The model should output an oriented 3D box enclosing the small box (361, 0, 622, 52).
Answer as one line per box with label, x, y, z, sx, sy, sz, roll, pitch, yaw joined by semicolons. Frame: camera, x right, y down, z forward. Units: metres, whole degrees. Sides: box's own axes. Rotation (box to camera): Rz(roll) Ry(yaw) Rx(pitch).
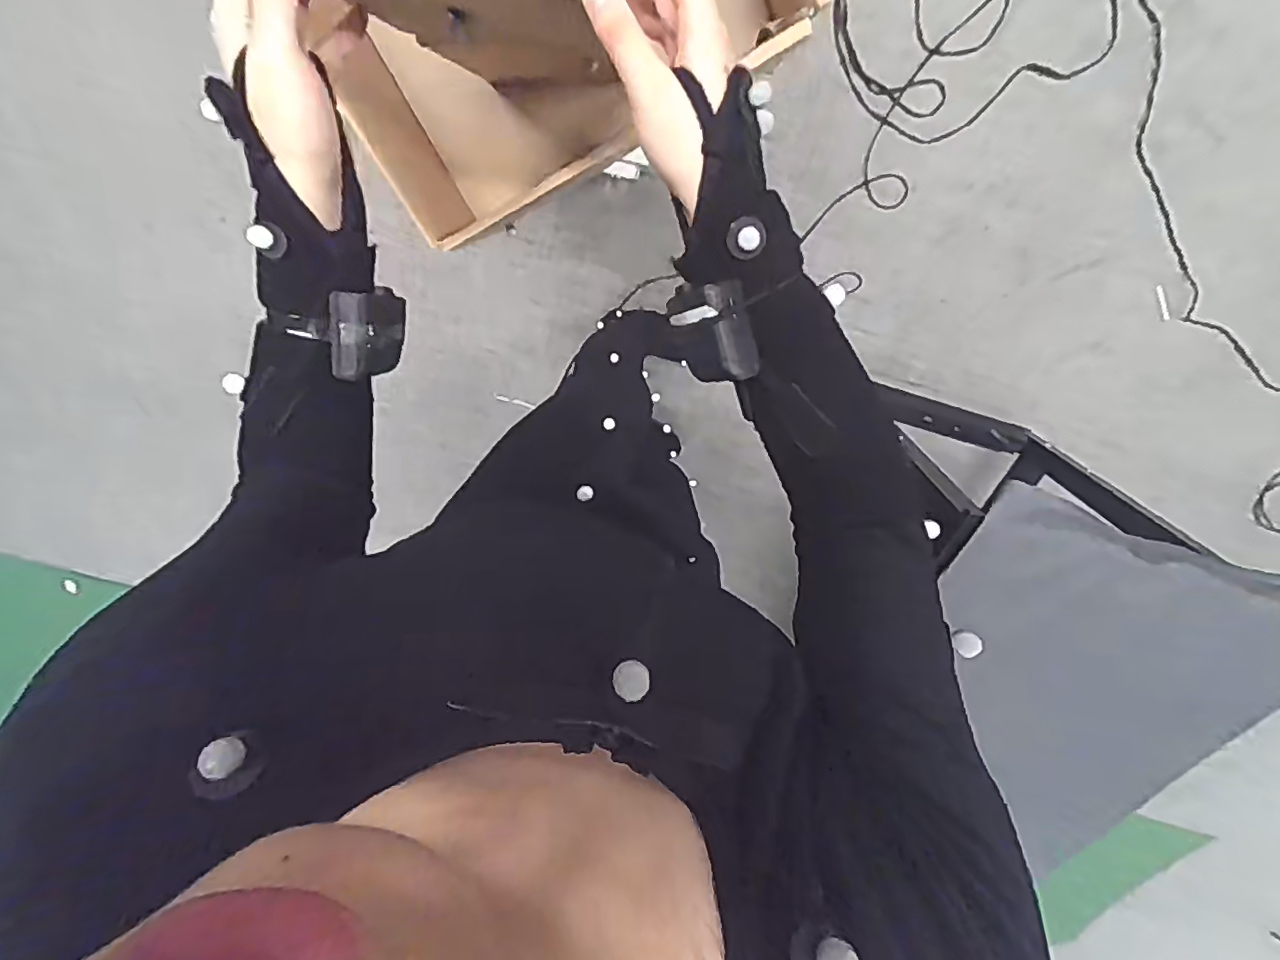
small box;-0.095;-0.377;0.318;0.179;0.176;0.168;8;118;1
